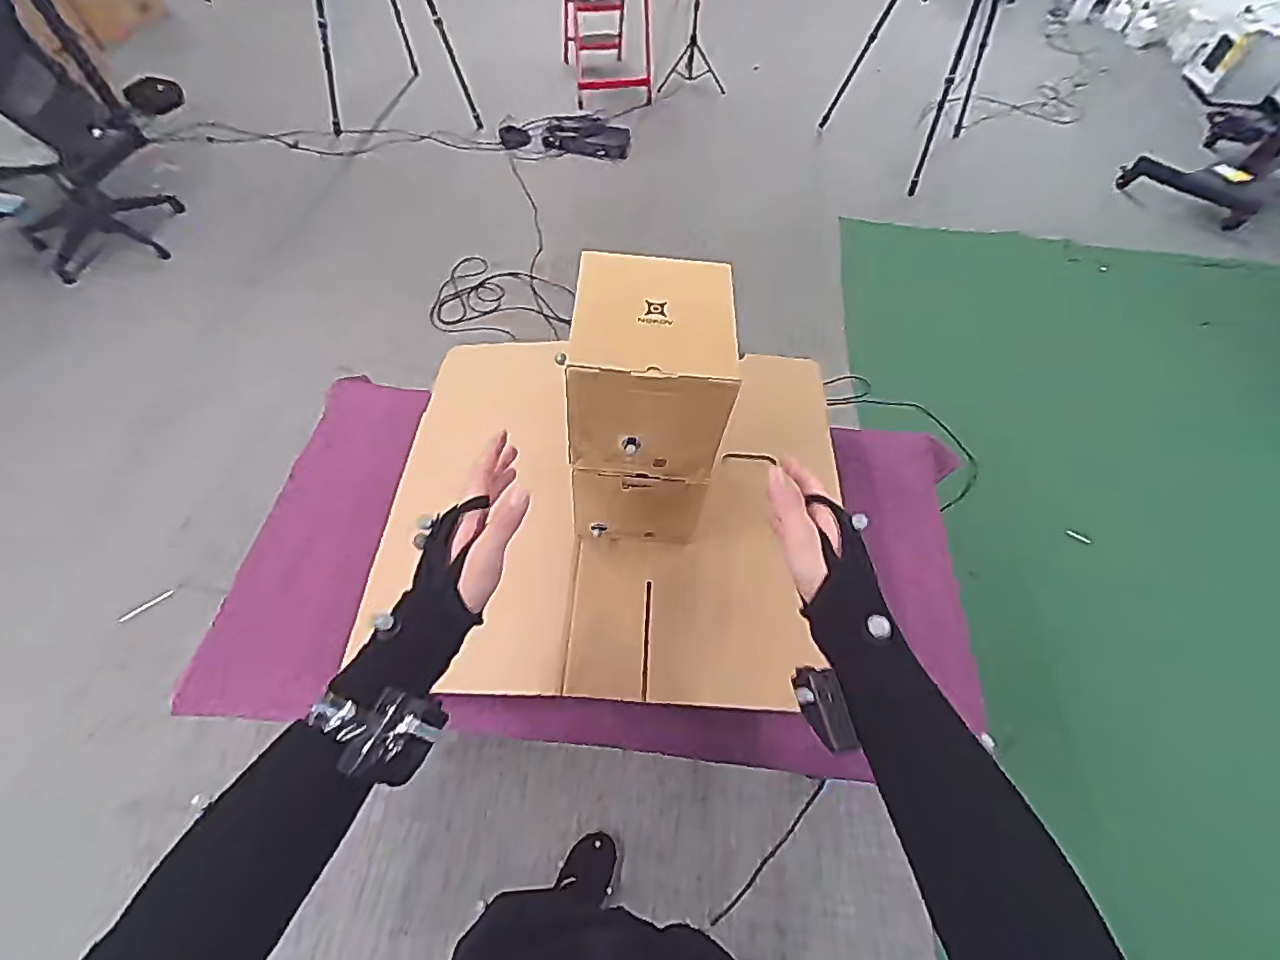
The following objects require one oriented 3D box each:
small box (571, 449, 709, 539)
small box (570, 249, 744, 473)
[{"bbox_3d":[0.000,-0.033,0.741,0.168,0.176,0.179,5,57,-3],"label":"small box"},{"bbox_3d":[0.012,-0.127,0.609,0.168,0.176,0.179,4,58,-3],"label":"small box"}]
